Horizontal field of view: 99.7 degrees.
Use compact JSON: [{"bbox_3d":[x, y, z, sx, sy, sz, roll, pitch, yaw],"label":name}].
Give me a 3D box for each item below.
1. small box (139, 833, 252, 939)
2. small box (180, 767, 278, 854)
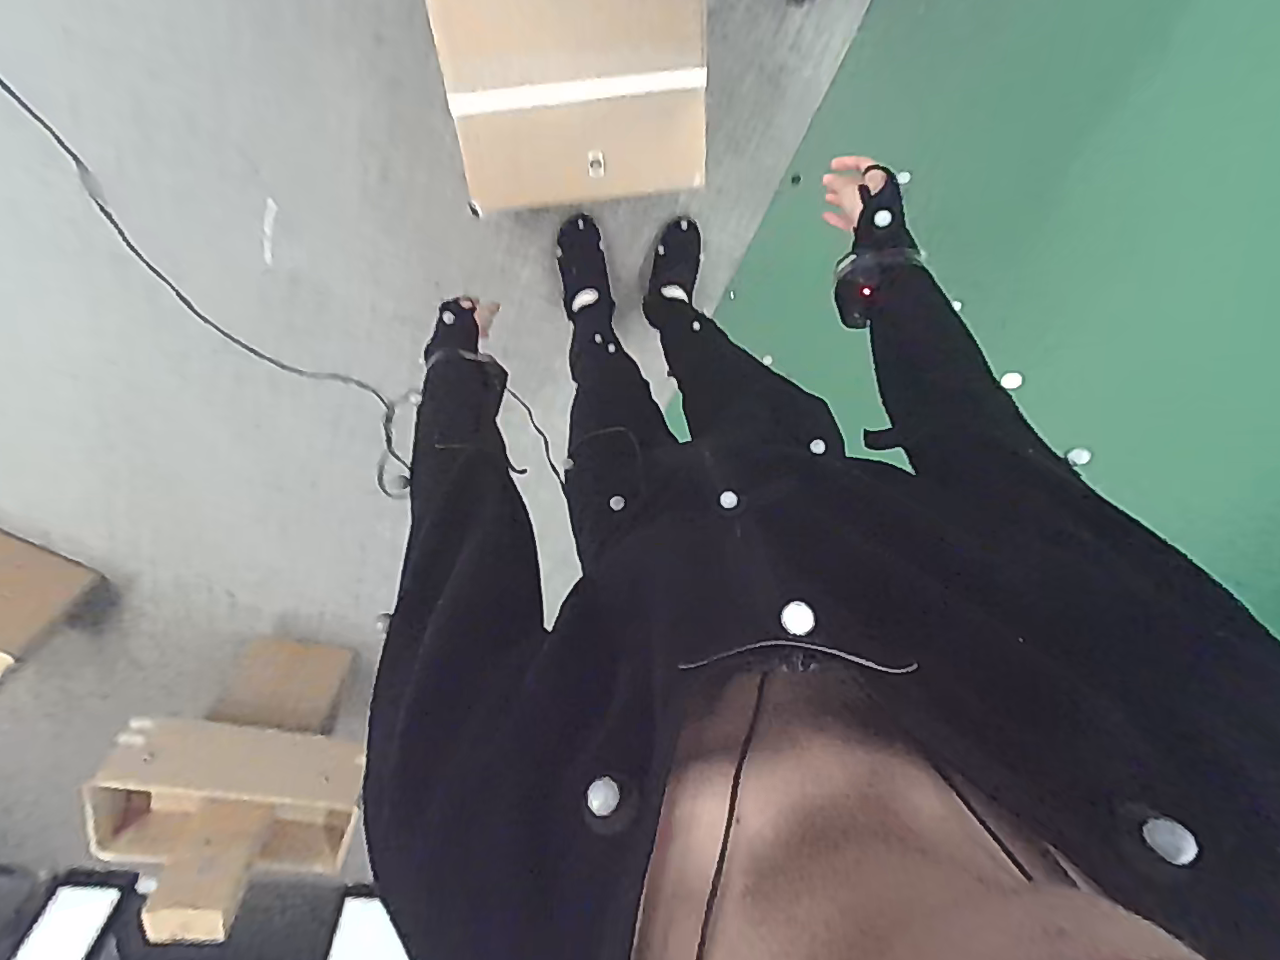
[{"bbox_3d":[-1.112,1.021,1.364,0.168,0.176,0.179,15,119,-16],"label":"small box"},{"bbox_3d":[-1.134,0.932,1.500,0.168,0.176,0.179,17,119,-18],"label":"small box"}]
